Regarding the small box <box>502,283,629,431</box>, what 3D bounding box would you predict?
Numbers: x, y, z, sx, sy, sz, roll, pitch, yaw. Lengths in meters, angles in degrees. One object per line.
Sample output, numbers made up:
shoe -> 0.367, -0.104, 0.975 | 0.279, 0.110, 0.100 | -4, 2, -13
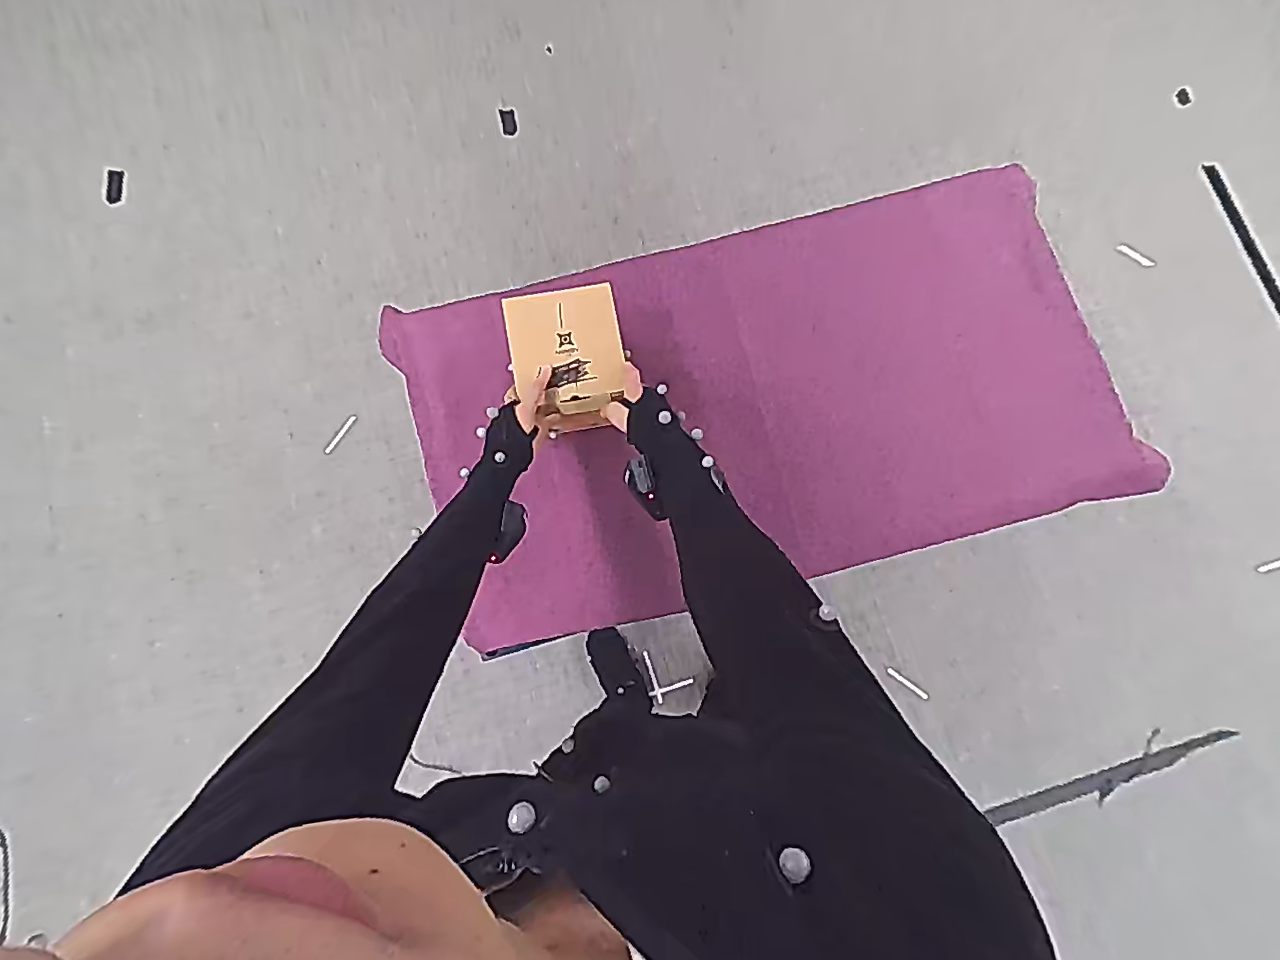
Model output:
small box -> -0.111, -0.184, 0.865 | 0.168, 0.176, 0.179 | -10, 81, -4
